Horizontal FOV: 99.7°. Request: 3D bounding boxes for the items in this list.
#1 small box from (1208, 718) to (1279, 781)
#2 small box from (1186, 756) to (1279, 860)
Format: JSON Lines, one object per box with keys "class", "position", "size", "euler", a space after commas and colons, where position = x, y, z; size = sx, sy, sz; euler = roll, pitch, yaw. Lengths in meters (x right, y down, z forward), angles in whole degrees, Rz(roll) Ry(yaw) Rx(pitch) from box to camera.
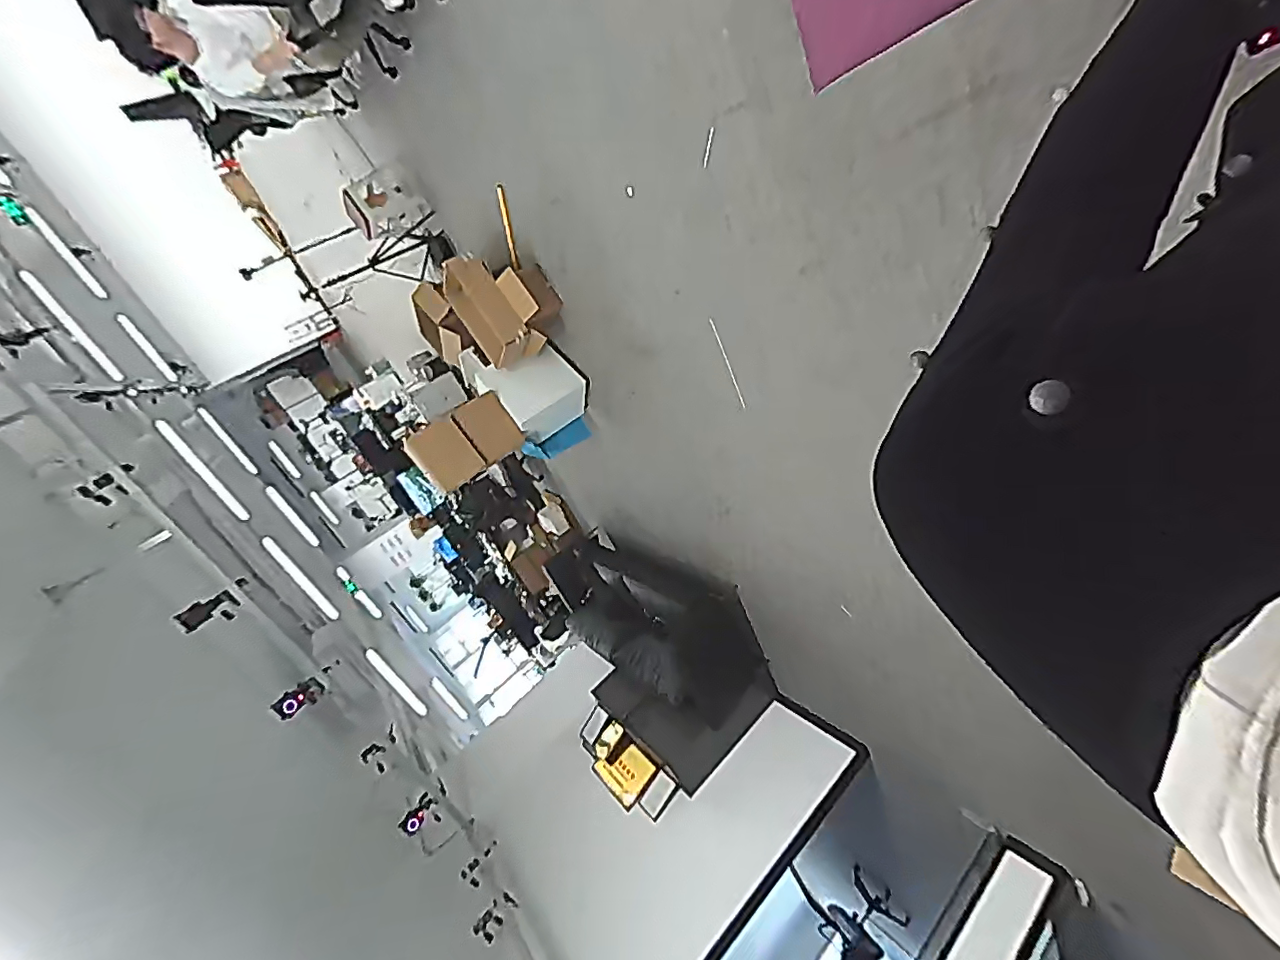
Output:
{"class": "small box", "position": [1.889, 0.866, 1.658], "size": [0.179, 0.176, 0.168], "euler": [17, 140, 53]}
{"class": "small box", "position": [1.769, 0.957, 1.601], "size": [0.179, 0.176, 0.168], "euler": [16, 138, 53]}
